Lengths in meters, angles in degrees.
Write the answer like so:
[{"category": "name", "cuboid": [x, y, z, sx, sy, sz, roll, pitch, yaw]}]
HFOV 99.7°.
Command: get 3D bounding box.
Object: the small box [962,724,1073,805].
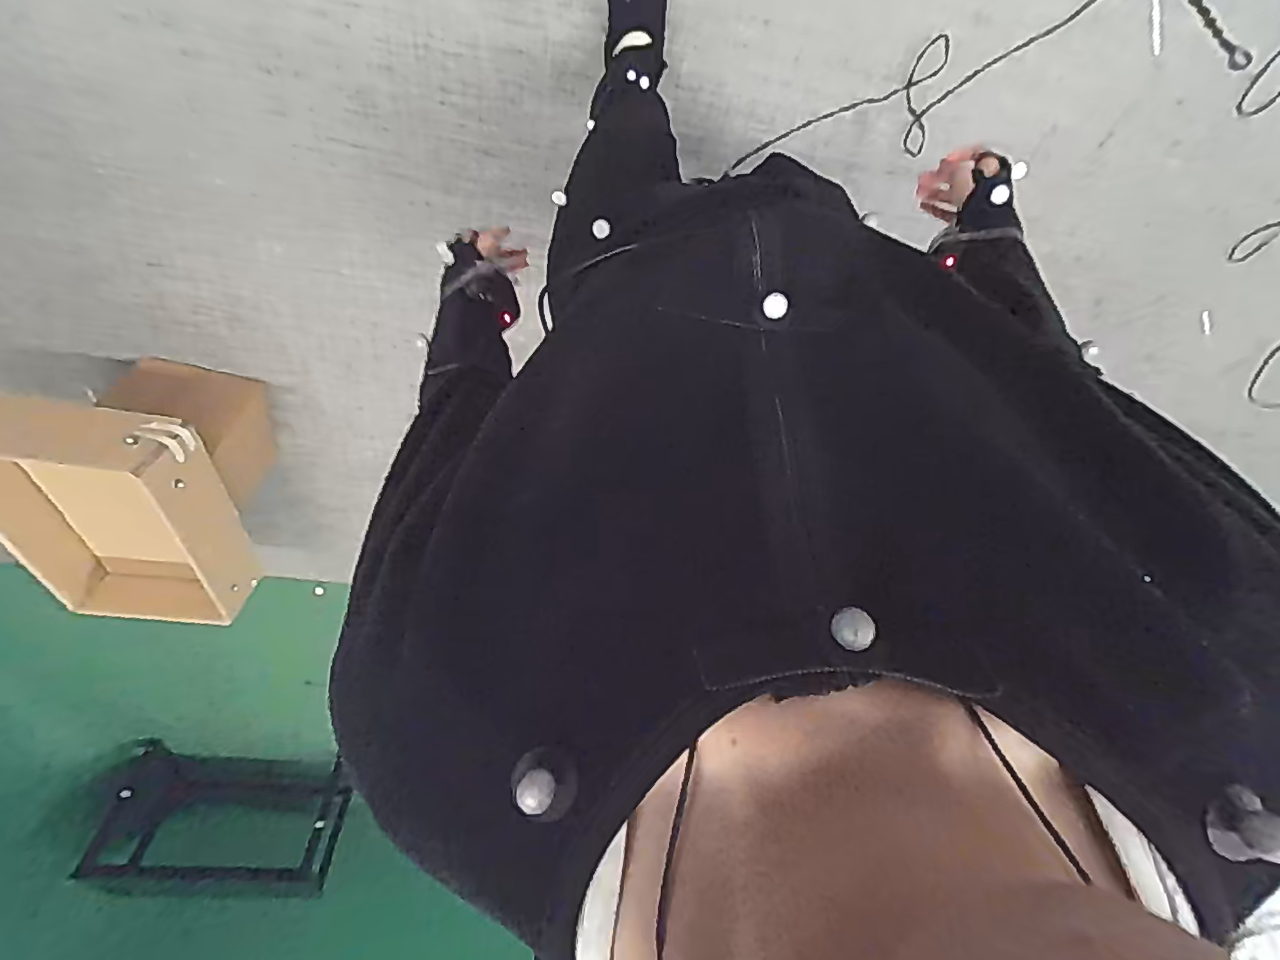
[{"category": "small box", "cuboid": [1.106, 0.840, 1.602, 0.179, 0.176, 0.168, 10, 133, -11]}]
